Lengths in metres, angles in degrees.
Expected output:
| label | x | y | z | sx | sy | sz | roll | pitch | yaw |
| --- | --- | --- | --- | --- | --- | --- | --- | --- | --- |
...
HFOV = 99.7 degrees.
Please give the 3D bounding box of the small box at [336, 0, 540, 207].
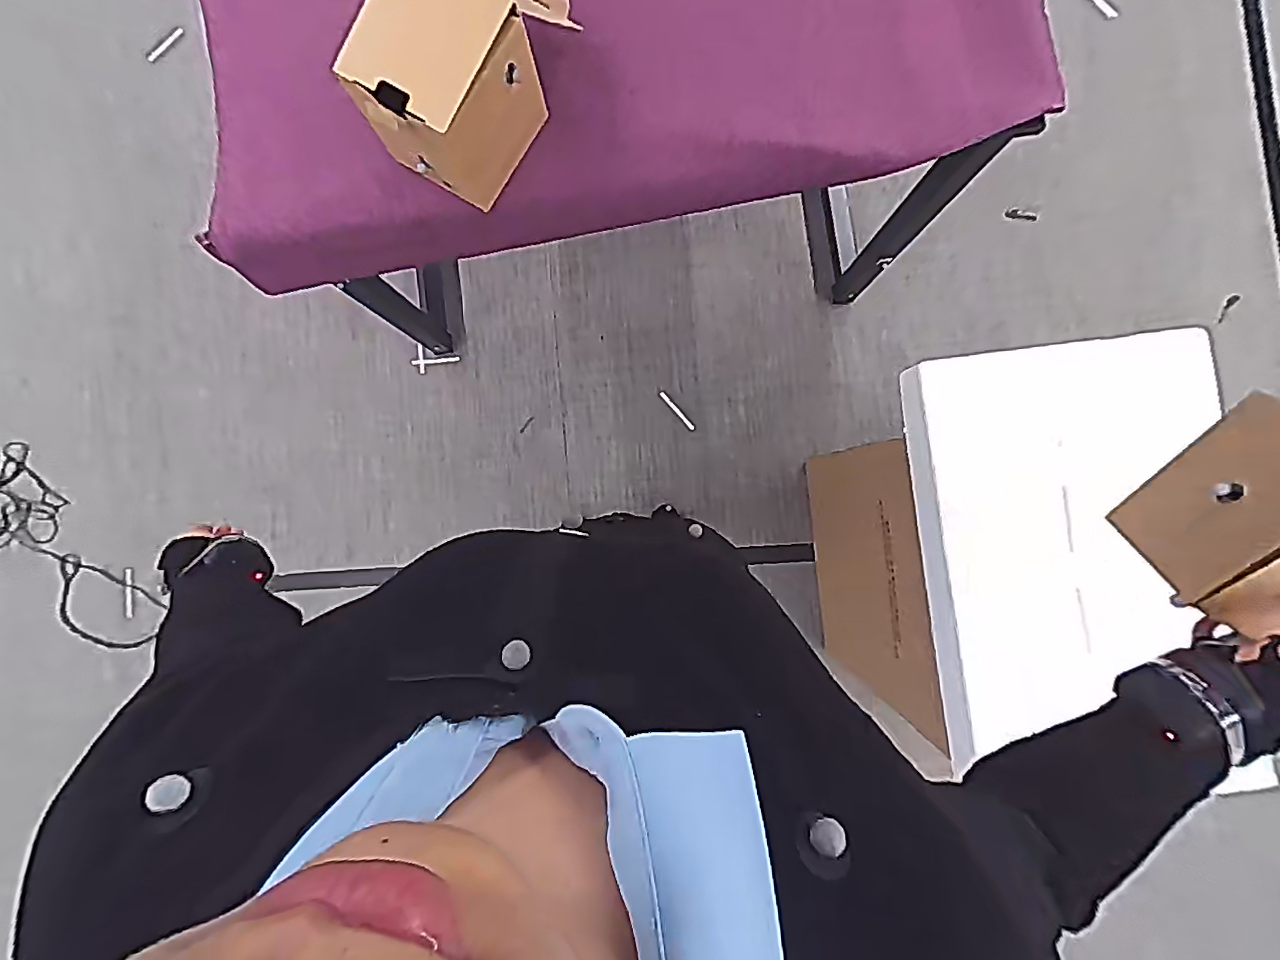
| label | x | y | z | sx | sy | sz | roll | pitch | yaw |
| --- | --- | --- | --- | --- | --- | --- | --- | --- | --- |
| small box | -0.252 | -0.517 | 0.726 | 0.168 | 0.176 | 0.179 | 31 | 87 | 4 |
